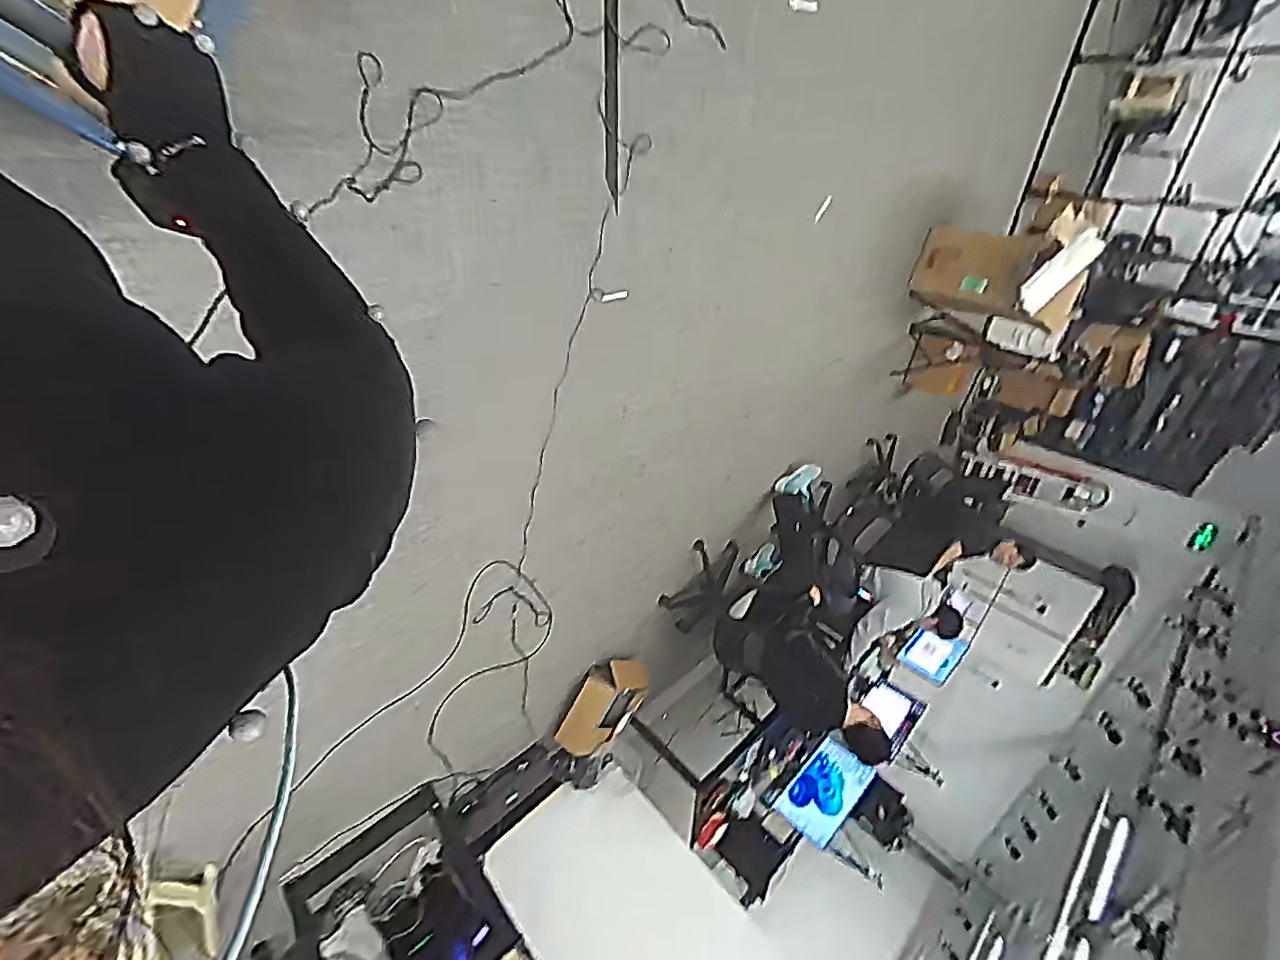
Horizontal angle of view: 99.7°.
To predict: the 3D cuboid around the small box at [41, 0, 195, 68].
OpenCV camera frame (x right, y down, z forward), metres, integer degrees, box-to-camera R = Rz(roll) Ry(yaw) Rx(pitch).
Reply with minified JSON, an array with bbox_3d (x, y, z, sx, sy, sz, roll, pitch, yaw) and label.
[{"bbox_3d":[-0.730,-0.707,0.740,0.168,0.176,0.179,24,94,-53],"label":"small box"}]
